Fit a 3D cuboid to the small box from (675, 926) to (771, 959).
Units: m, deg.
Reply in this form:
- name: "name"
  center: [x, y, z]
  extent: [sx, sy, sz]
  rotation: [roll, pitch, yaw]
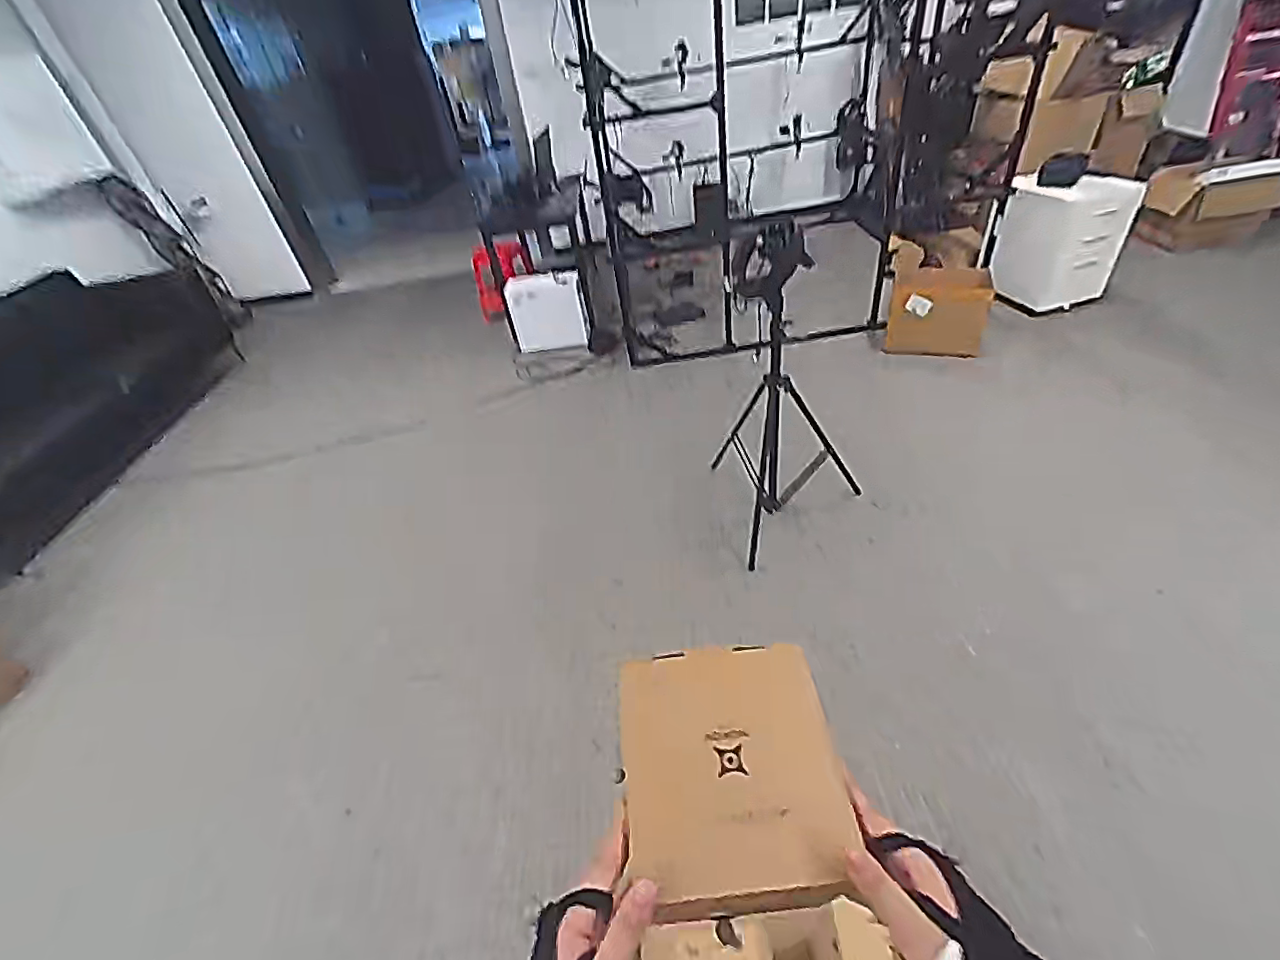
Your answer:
- name: "small box"
  center: [0.162, 0.929, 0.958]
  extent: [0.168, 0.176, 0.179]
  rotation: [-10, 40, 0]

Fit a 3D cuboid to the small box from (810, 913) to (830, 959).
- name: "small box"
  center: [0.407, 0.889, 0.955]
  extent: [0.168, 0.176, 0.179]
  rotation: [-9, 39, 2]

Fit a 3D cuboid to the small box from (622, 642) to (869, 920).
- name: "small box"
  center: [0.070, 0.265, 0.477]
  extent: [0.168, 0.176, 0.179]
  rotation: [-4, 48, -2]

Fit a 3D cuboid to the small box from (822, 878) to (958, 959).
- name: "small box"
  center: [0.393, 0.761, 0.854]
  extent: [0.168, 0.176, 0.179]
  rotation: [-7, 39, 5]
